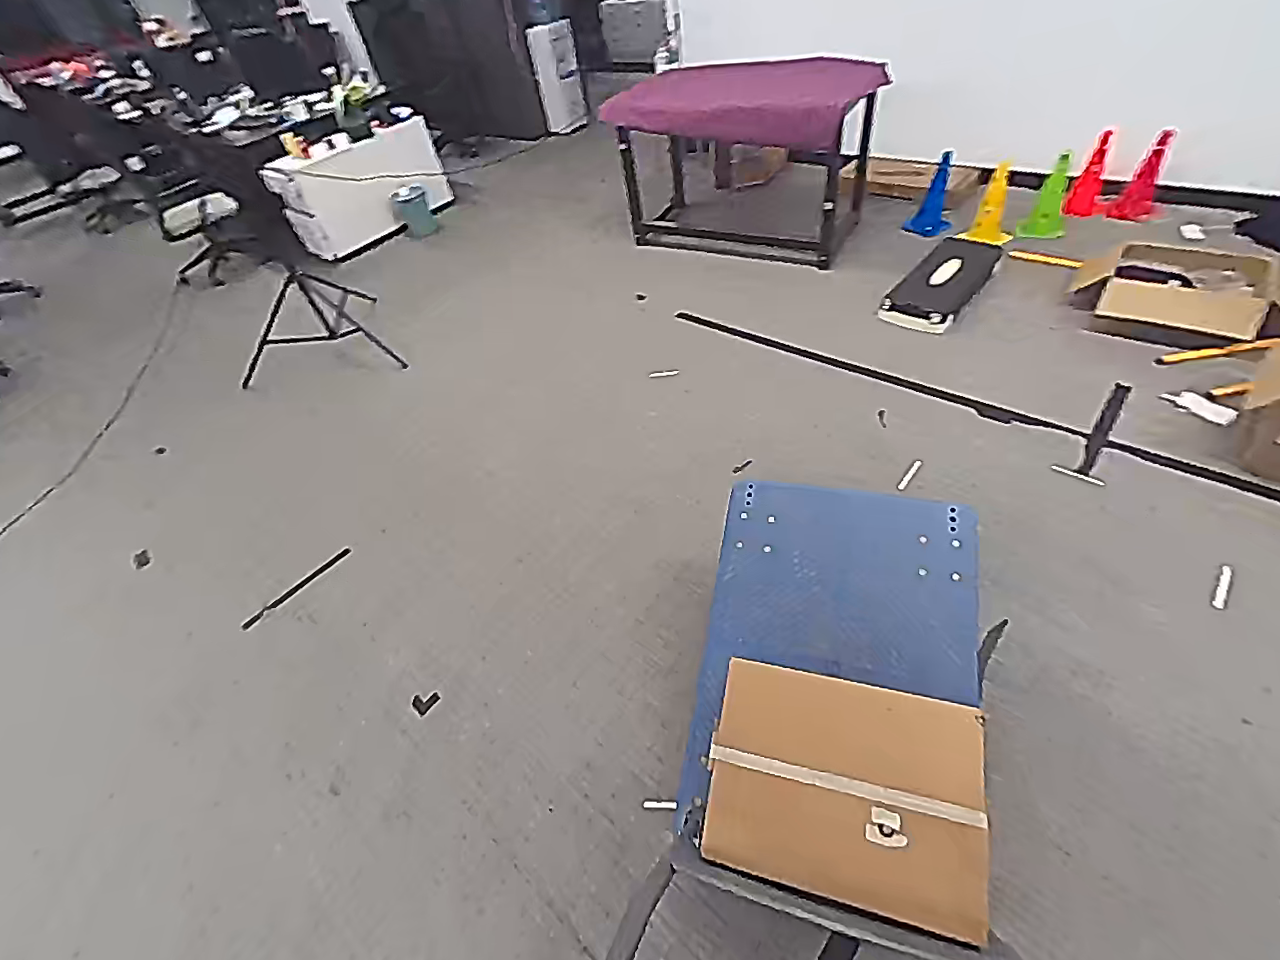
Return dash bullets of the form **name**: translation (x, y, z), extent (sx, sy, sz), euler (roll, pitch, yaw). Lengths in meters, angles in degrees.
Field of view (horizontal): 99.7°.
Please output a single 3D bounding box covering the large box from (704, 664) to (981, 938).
- **large box**: translation (0.350, 0.556, 1.003), extent (0.408, 0.320, 0.320), euler (7, 67, 16)
